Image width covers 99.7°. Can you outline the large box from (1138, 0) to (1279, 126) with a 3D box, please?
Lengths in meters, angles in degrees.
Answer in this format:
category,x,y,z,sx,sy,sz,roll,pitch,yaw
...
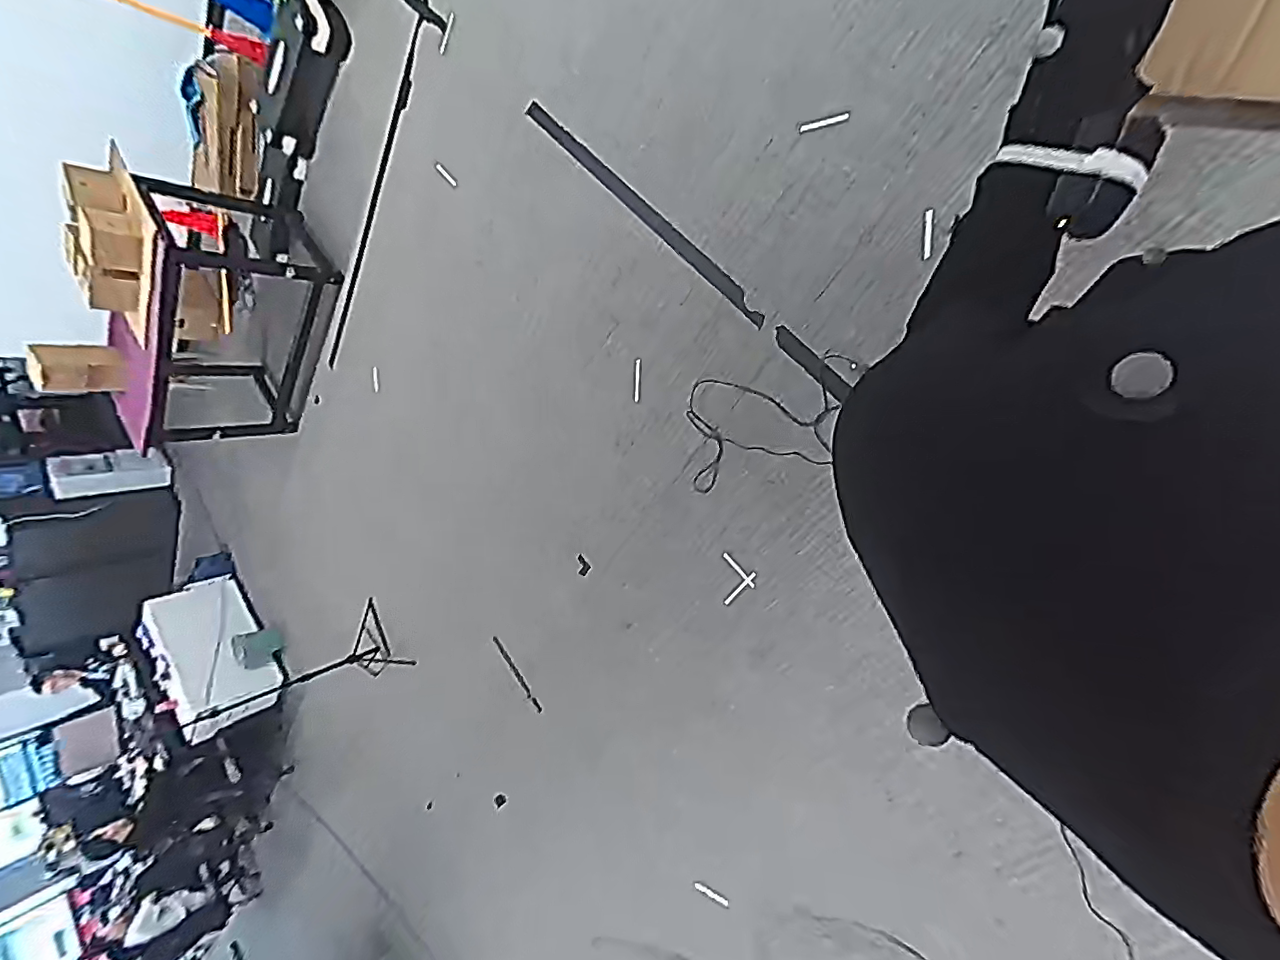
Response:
category,x,y,z,sx,sy,sz,roll,pitch,yaw
large box,0.591,-0.371,0.287,0.408,0.320,0.320,28,131,29
